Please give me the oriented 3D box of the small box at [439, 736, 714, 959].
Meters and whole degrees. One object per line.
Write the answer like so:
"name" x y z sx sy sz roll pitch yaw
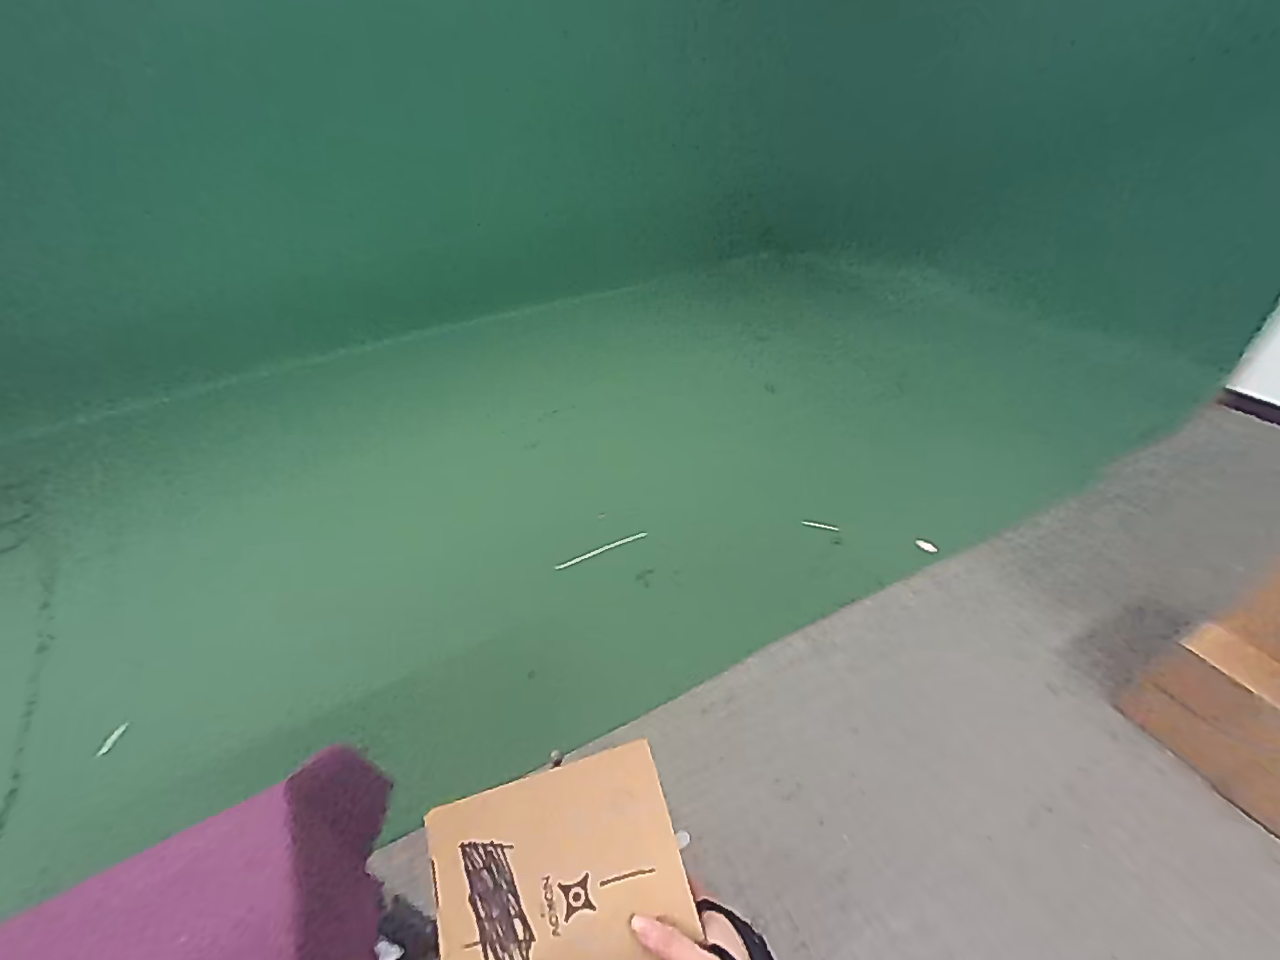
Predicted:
"small box" -0.050 0.330 0.455 0.179 0.176 0.168 -13 64 -9

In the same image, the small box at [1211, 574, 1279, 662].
"small box" 1.506 0.305 1.247 0.168 0.176 0.179 -20 41 -22
